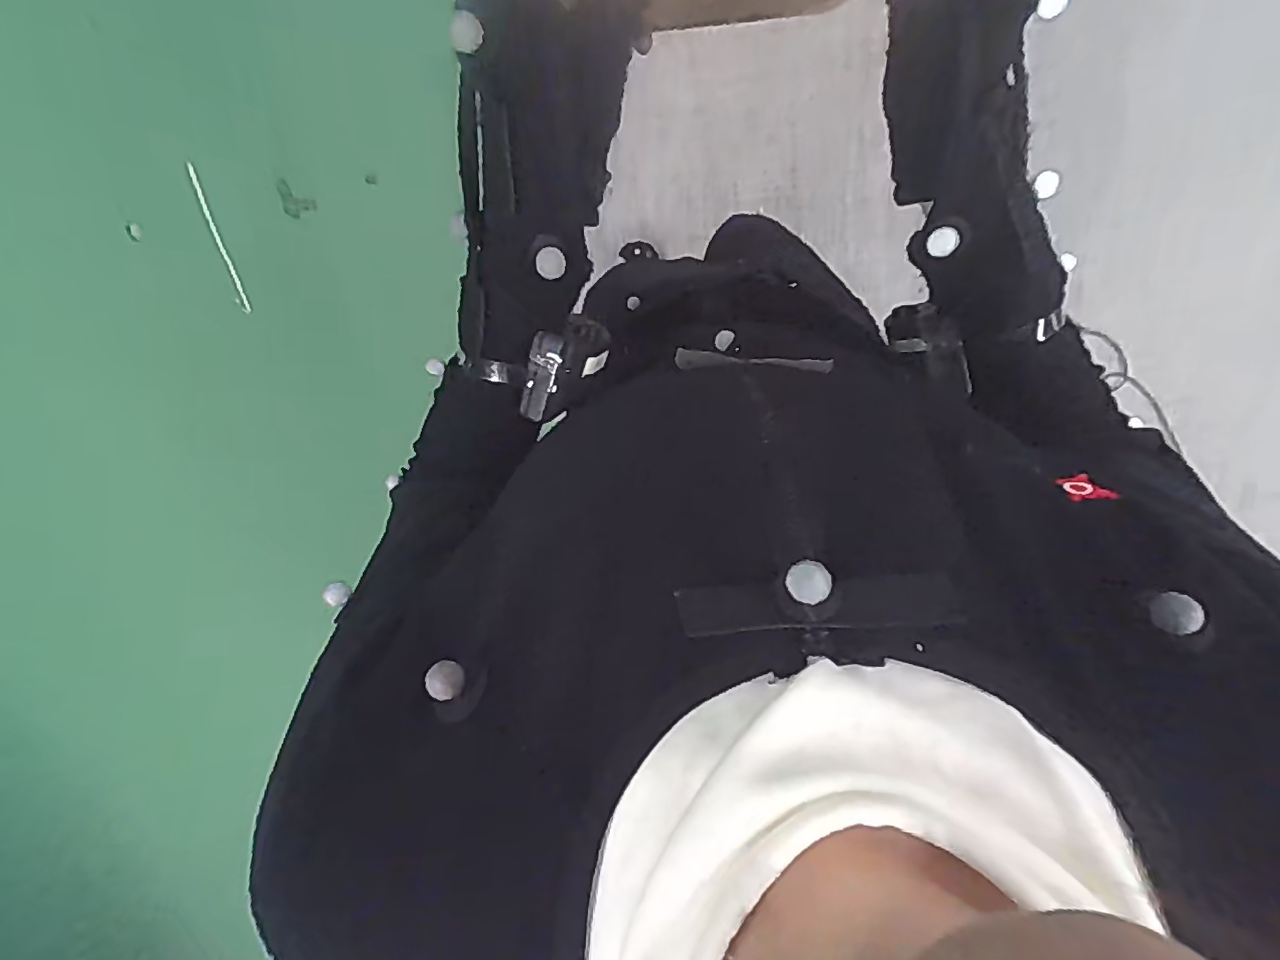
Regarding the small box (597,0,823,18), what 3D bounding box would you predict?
[{"bbox_3d":[0.046,-0.343,0.250,0.168,0.176,0.179,-6,120,-1],"label":"small box"}]
